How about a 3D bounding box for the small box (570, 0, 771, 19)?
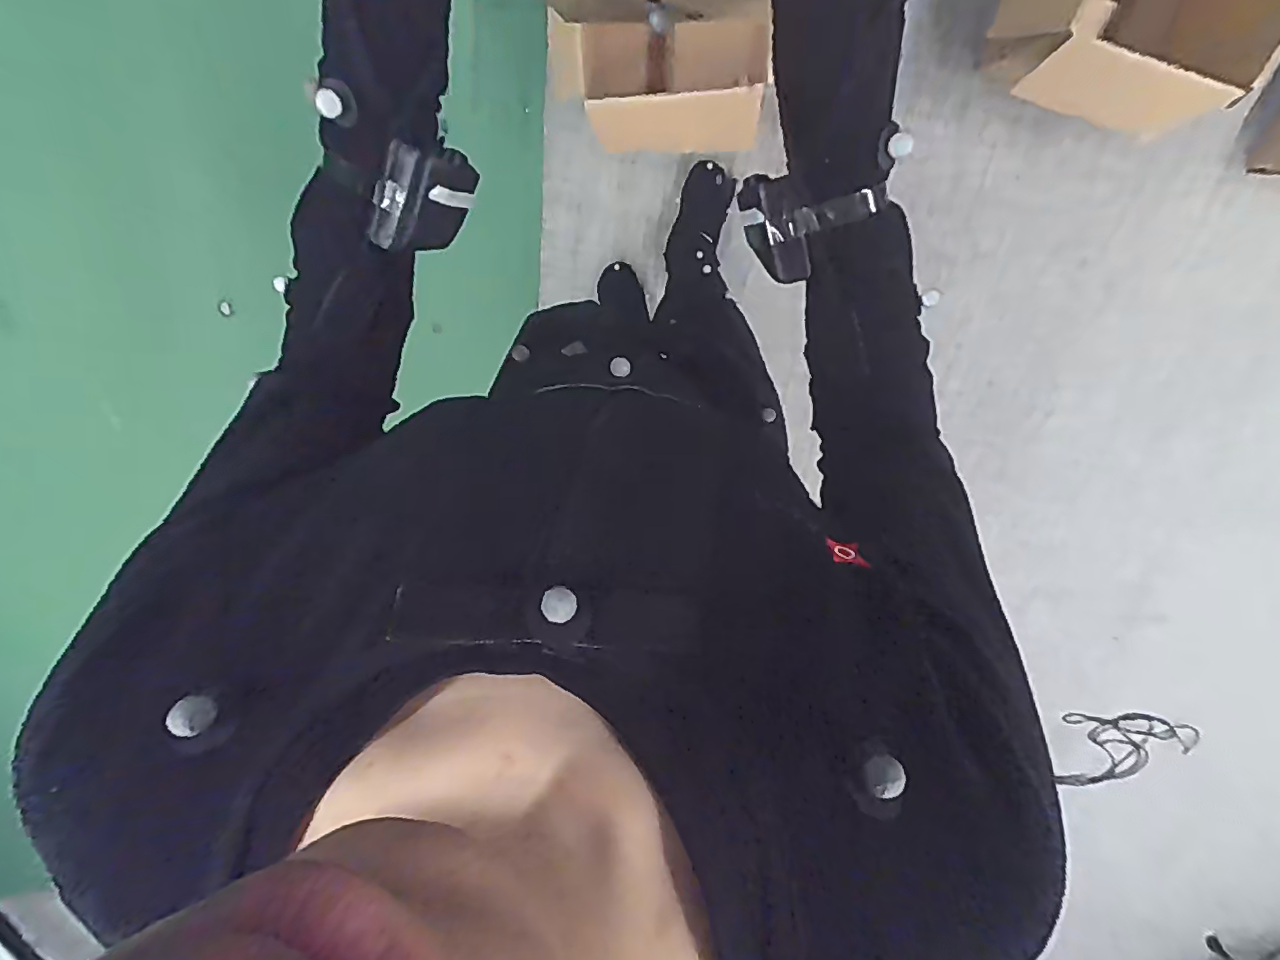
[{"bbox_3d":[0.013,-0.397,0.303,0.168,0.176,0.179,6,118,5],"label":"small box"}]
